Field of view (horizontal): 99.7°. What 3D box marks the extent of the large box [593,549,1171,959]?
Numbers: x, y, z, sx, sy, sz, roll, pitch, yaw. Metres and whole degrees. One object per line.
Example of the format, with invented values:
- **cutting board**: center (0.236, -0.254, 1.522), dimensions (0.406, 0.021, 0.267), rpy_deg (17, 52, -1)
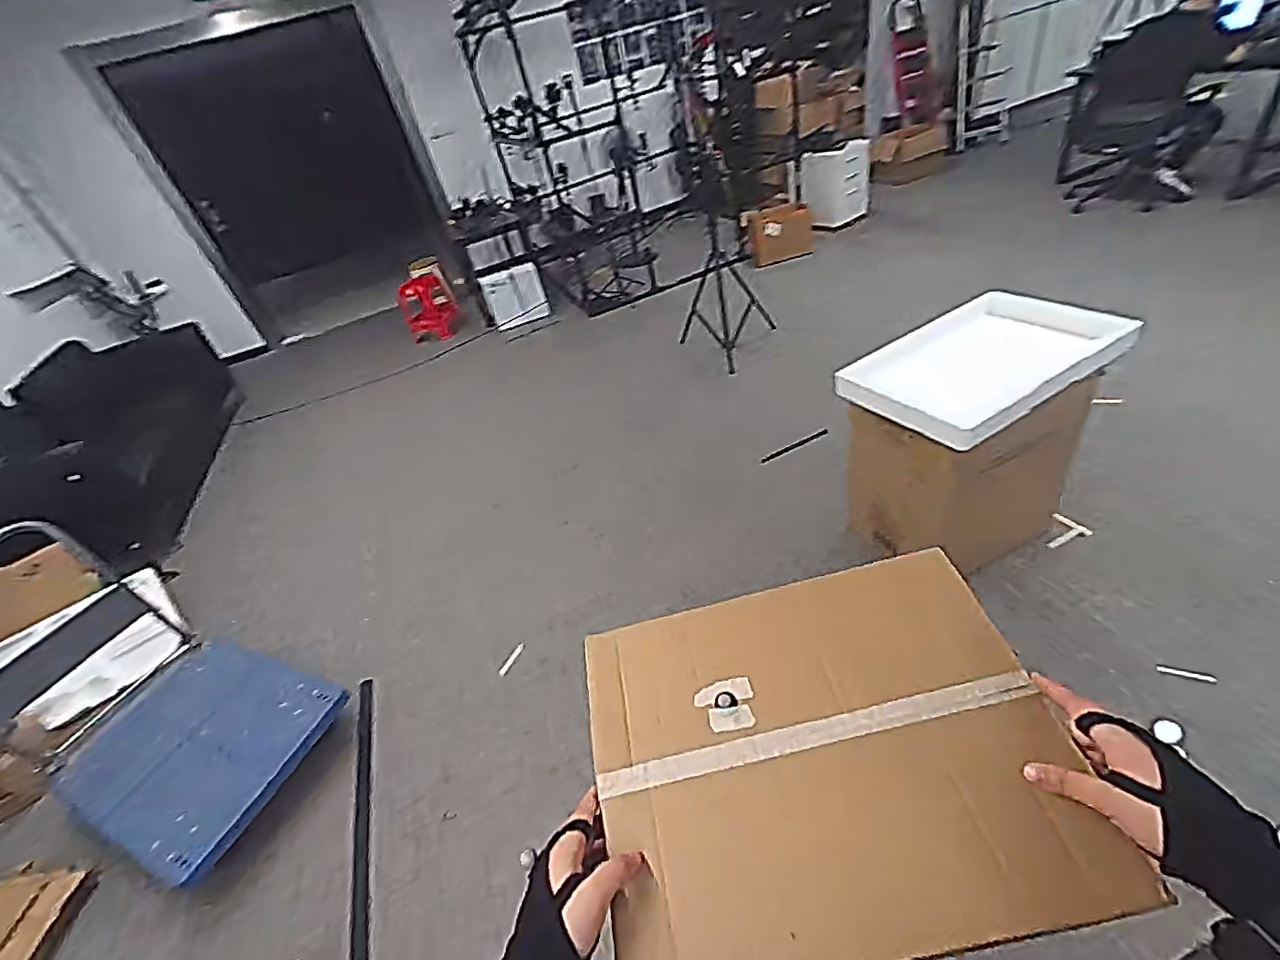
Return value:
- **large box**: center (0.197, 0.332, 0.595), dimensions (0.408, 0.320, 0.320), rpy_deg (-16, 45, 4)
